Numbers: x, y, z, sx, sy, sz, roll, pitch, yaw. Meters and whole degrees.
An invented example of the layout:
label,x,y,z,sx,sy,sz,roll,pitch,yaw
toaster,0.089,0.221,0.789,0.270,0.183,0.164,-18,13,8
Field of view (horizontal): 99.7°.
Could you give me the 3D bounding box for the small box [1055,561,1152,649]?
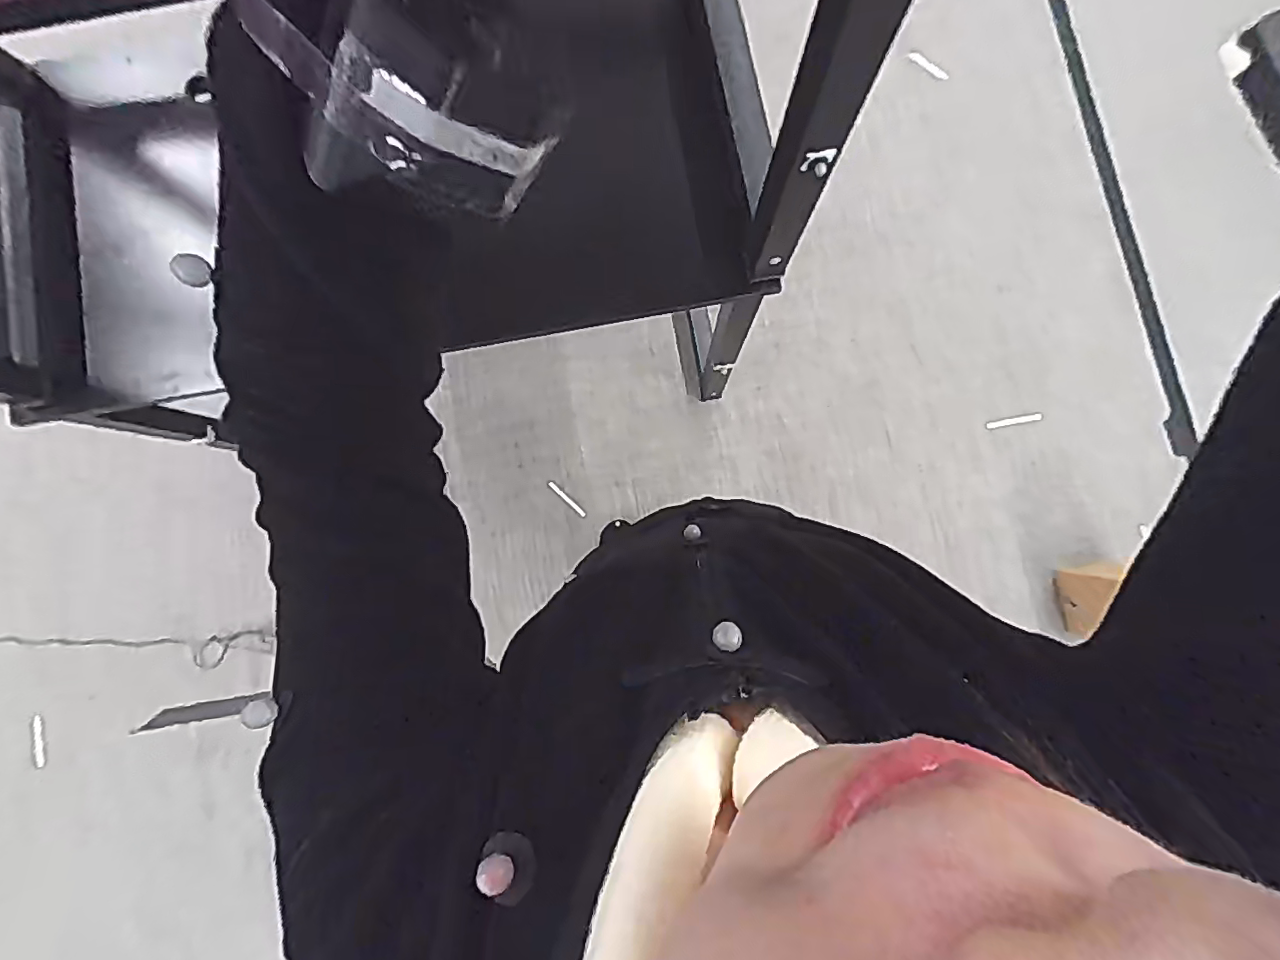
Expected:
label,x,y,z,sx,sy,sz,roll,pitch,yaw
small box,1.208,0.311,1.373,0.168,0.176,0.179,-11,86,1
